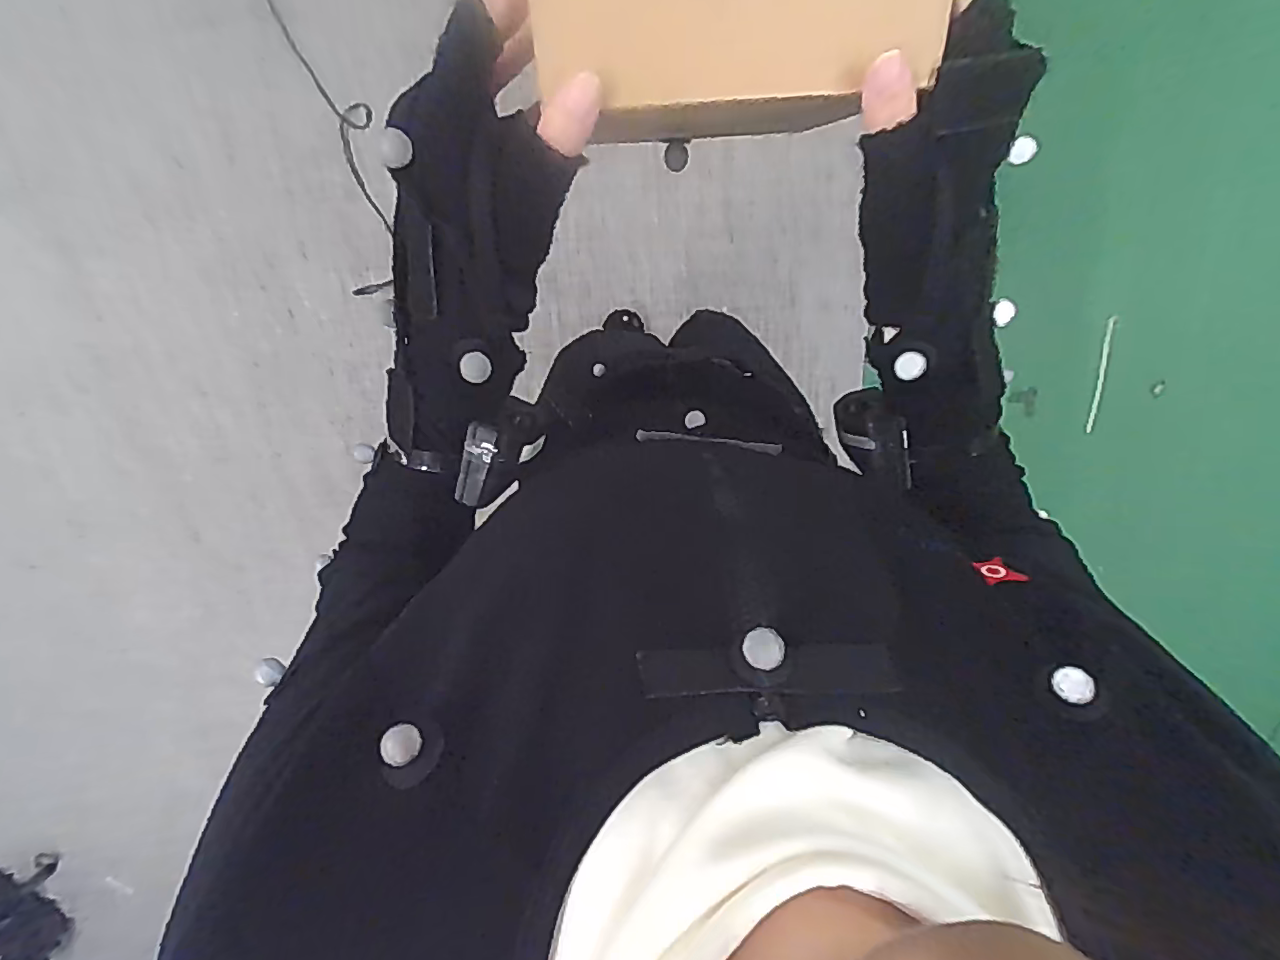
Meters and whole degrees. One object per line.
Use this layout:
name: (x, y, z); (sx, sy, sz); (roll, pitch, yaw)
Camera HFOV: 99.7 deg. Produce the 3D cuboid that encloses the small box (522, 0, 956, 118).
small box: (0.029, -0.277, 0.238); (0.168, 0.176, 0.179); (-4, 118, -2)
